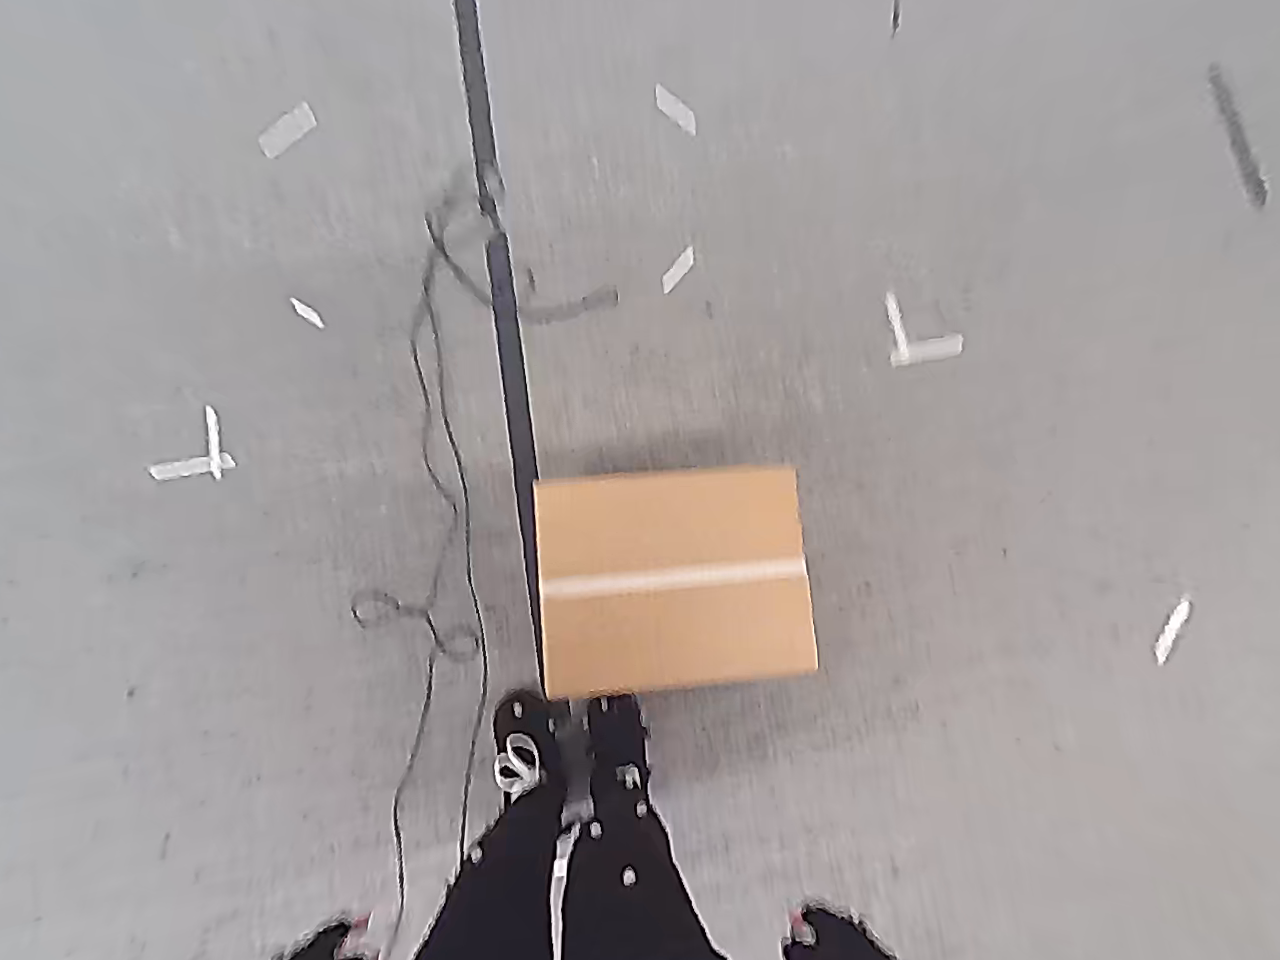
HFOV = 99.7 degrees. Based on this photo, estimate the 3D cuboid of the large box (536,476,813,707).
[{"bbox_3d":[0.043,0.183,0.964,0.408,0.320,0.320,-4,81,-5],"label":"large box"}]
